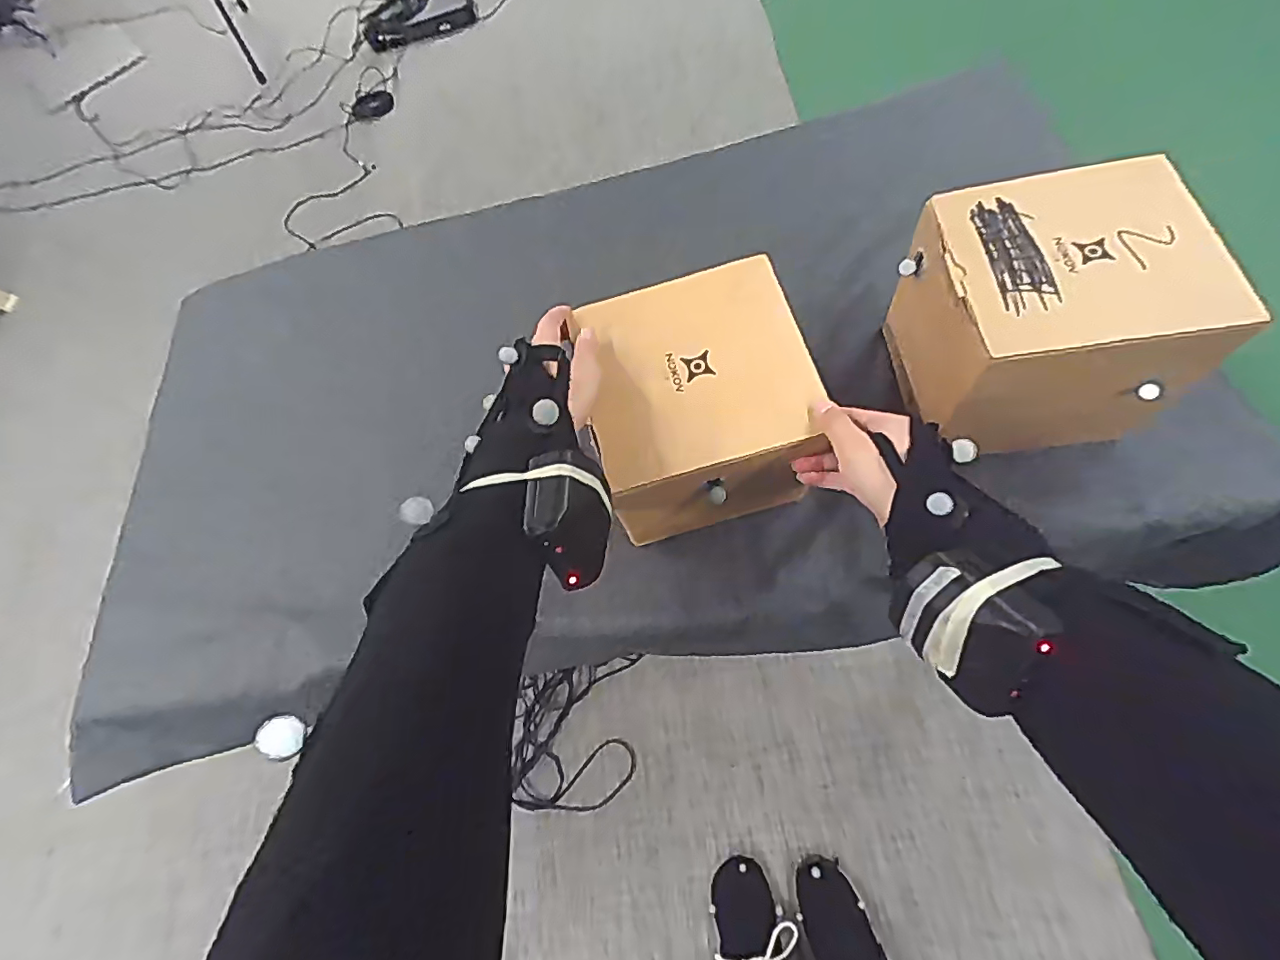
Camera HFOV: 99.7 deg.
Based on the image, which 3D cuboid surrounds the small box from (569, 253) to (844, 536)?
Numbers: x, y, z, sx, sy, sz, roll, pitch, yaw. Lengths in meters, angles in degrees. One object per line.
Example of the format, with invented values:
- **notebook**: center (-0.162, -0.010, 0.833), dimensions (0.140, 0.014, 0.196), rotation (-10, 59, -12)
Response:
- **small box**: center (0.053, -0.062, 0.486), dimensions (0.179, 0.176, 0.168), rotation (-16, 70, 2)
